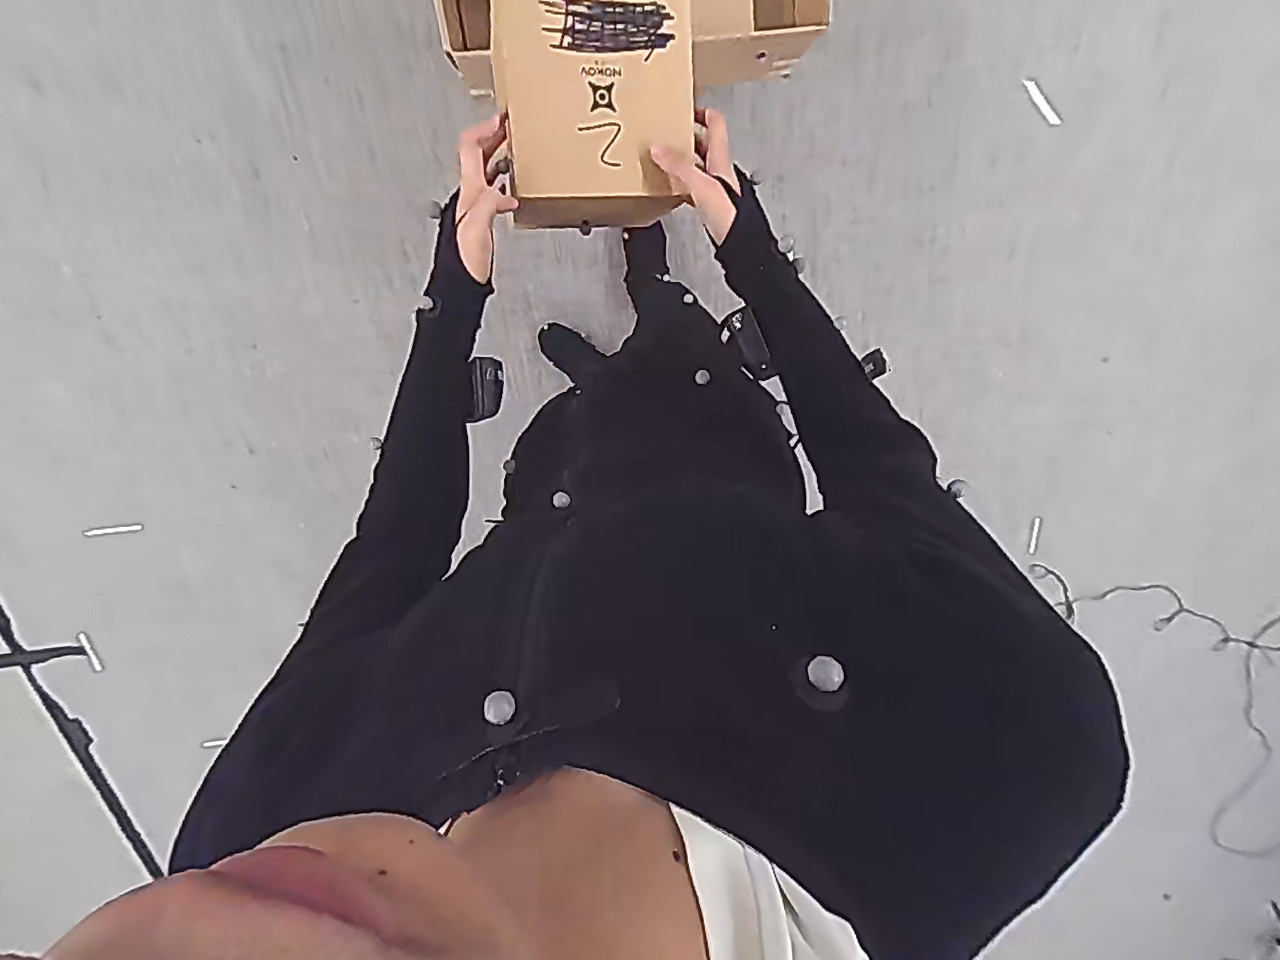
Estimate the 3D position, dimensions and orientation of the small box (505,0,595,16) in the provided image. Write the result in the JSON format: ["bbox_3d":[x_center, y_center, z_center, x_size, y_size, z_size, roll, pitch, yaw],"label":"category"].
[{"bbox_3d":[-0.145,-0.859,0.829,0.179,0.176,0.168,-11,109,-1],"label":"small box"}]
